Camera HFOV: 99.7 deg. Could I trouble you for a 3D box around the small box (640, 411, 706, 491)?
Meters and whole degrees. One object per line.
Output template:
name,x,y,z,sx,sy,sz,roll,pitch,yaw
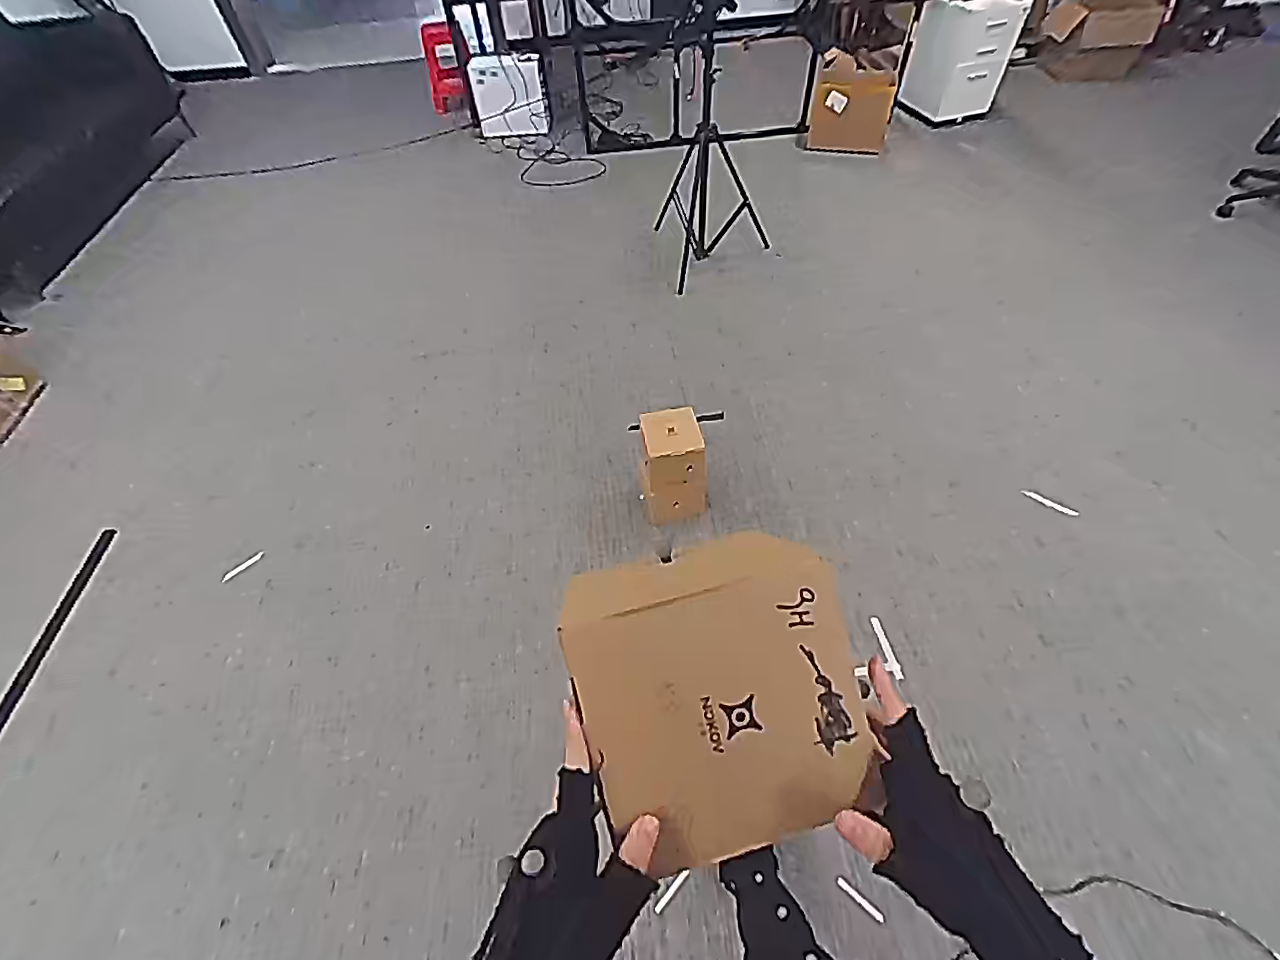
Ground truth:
small box,0.098,-0.081,1.630,0.168,0.176,0.179,-9,51,-5

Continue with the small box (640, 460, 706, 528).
small box,0.105,0.030,1.750,0.179,0.176,0.168,-14,52,-6
